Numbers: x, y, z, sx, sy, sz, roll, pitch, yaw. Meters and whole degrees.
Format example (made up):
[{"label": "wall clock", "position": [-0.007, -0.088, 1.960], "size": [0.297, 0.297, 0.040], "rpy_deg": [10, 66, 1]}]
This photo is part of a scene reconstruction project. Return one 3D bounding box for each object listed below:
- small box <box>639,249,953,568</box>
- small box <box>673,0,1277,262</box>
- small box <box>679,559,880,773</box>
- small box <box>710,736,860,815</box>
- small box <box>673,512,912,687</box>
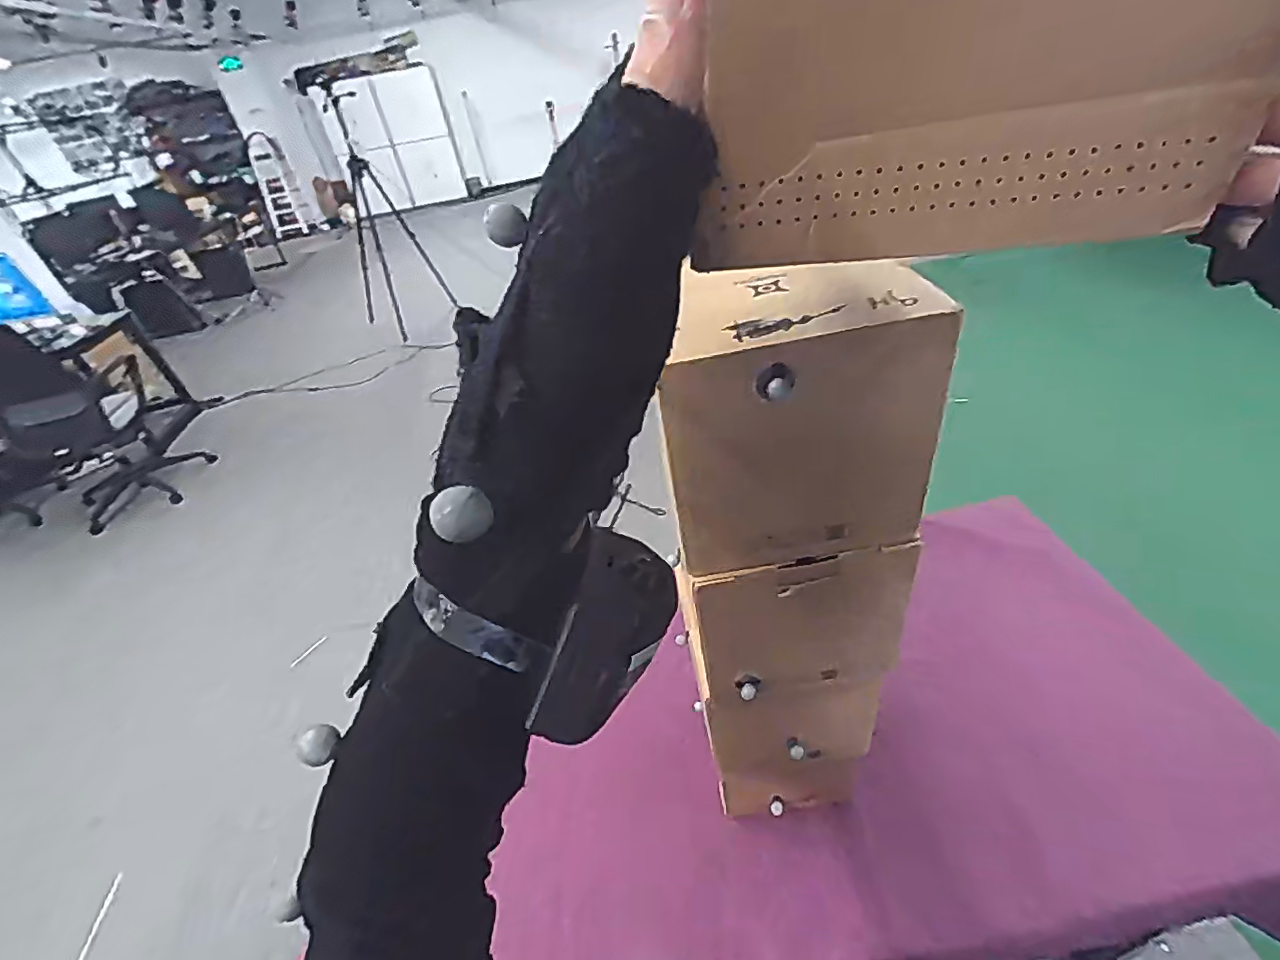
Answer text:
[{"label": "small box", "position": [0.094, -0.061, 0.404], "size": [0.168, 0.176, 0.179], "rpy_deg": [-10, 37, 3]}, {"label": "small box", "position": [0.101, -0.195, 0.203], "size": [0.179, 0.176, 0.168], "rpy_deg": [-1, 44, 7]}, {"label": "small box", "position": [0.144, 0.192, 0.606], "size": [0.168, 0.176, 0.179], "rpy_deg": [-12, 38, 1]}, {"label": "small box", "position": [0.173, 0.309, 0.718], "size": [0.168, 0.176, 0.179], "rpy_deg": [-10, 38, 2]}, {"label": "small box", "position": [0.122, 0.069, 0.499], "size": [0.168, 0.176, 0.179], "rpy_deg": [-11, 37, 2]}]
